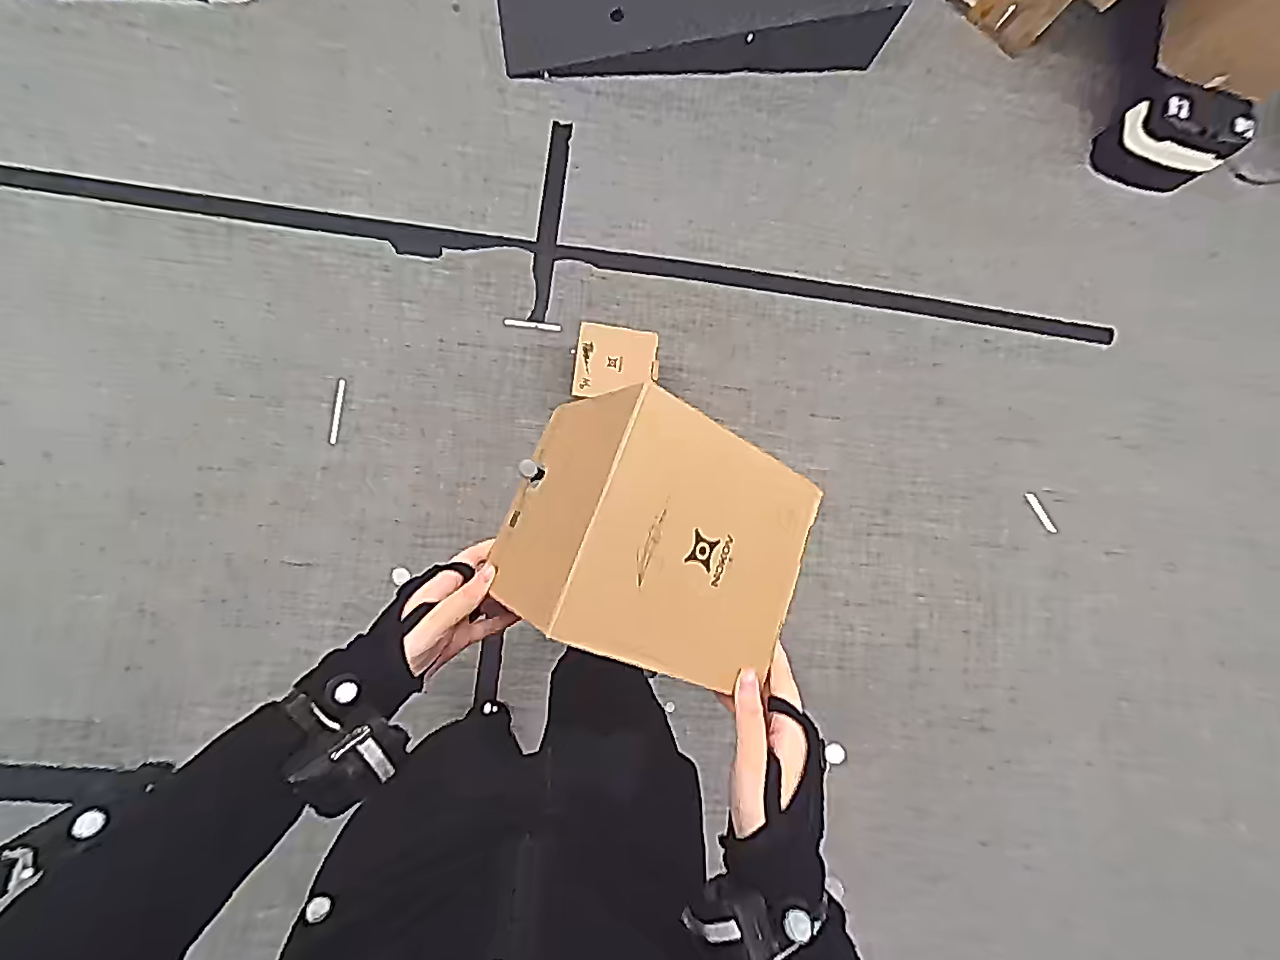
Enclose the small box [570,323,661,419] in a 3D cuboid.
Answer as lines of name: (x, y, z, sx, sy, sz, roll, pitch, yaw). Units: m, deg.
small box: (-0.061, -0.241, 1.245, 0.179, 0.176, 0.168, 8, 85, -8)
